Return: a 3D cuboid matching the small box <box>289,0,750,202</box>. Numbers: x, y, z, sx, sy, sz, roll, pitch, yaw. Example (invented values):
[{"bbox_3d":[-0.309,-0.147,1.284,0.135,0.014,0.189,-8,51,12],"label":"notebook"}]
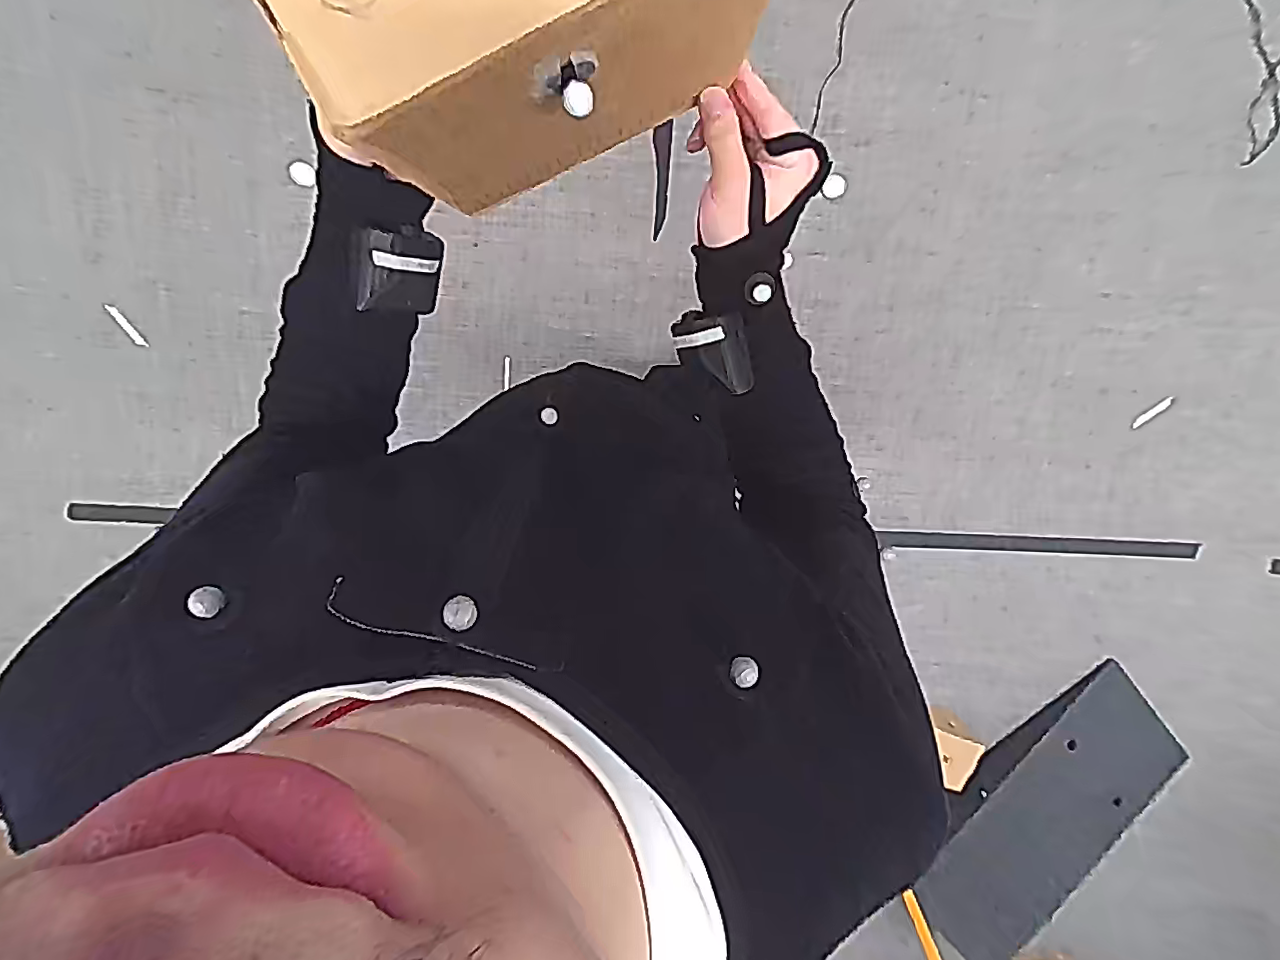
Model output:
[{"bbox_3d":[-0.054,-0.248,0.236,0.179,0.176,0.168,-24,107,5],"label":"small box"}]
